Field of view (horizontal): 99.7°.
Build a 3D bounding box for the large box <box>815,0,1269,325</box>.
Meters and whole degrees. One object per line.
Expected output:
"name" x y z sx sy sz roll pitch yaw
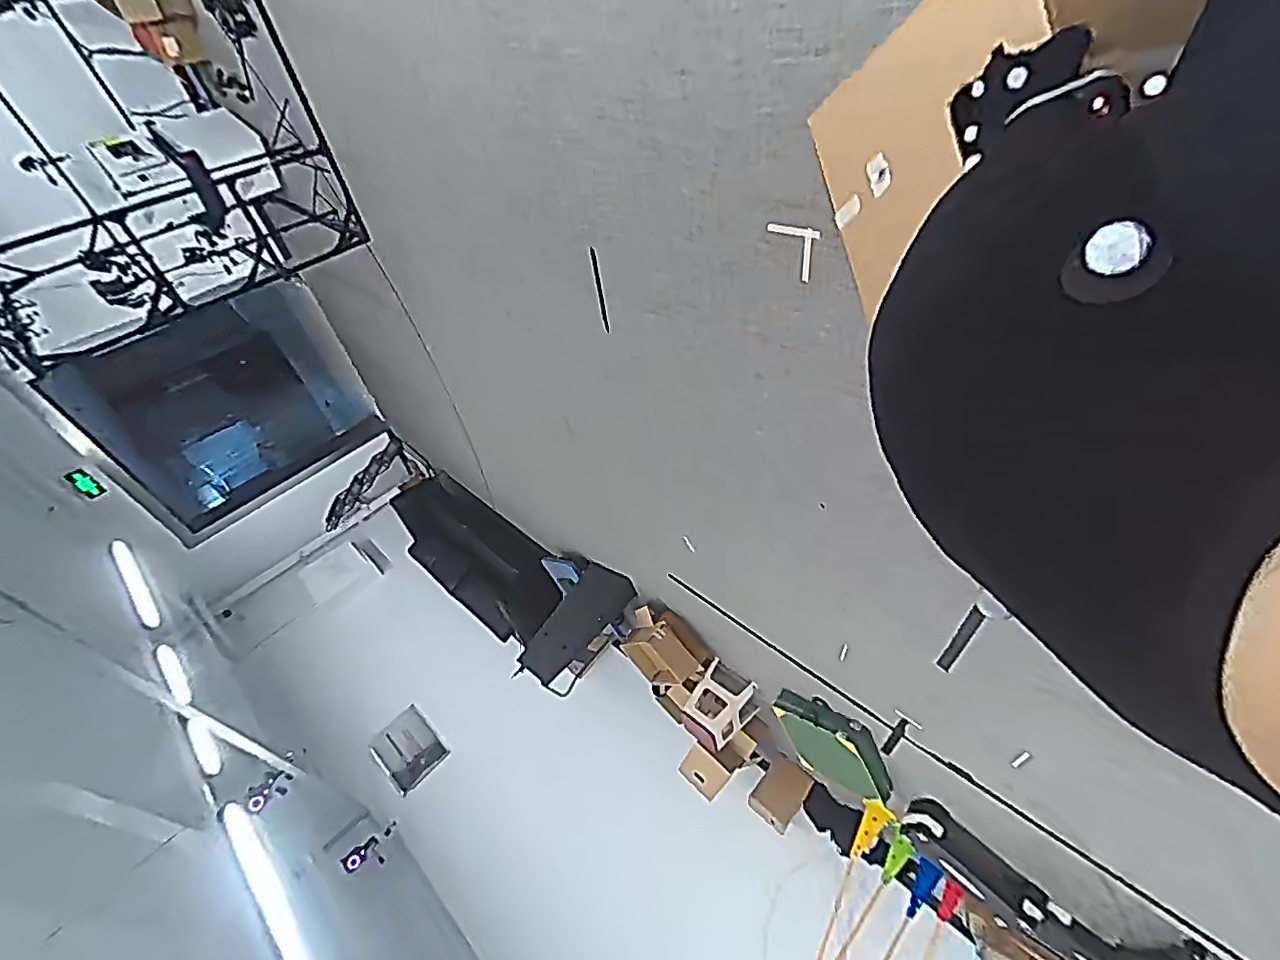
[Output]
"large box" 0.527 -0.449 0.743 0.320 0.408 0.320 -4 107 68
